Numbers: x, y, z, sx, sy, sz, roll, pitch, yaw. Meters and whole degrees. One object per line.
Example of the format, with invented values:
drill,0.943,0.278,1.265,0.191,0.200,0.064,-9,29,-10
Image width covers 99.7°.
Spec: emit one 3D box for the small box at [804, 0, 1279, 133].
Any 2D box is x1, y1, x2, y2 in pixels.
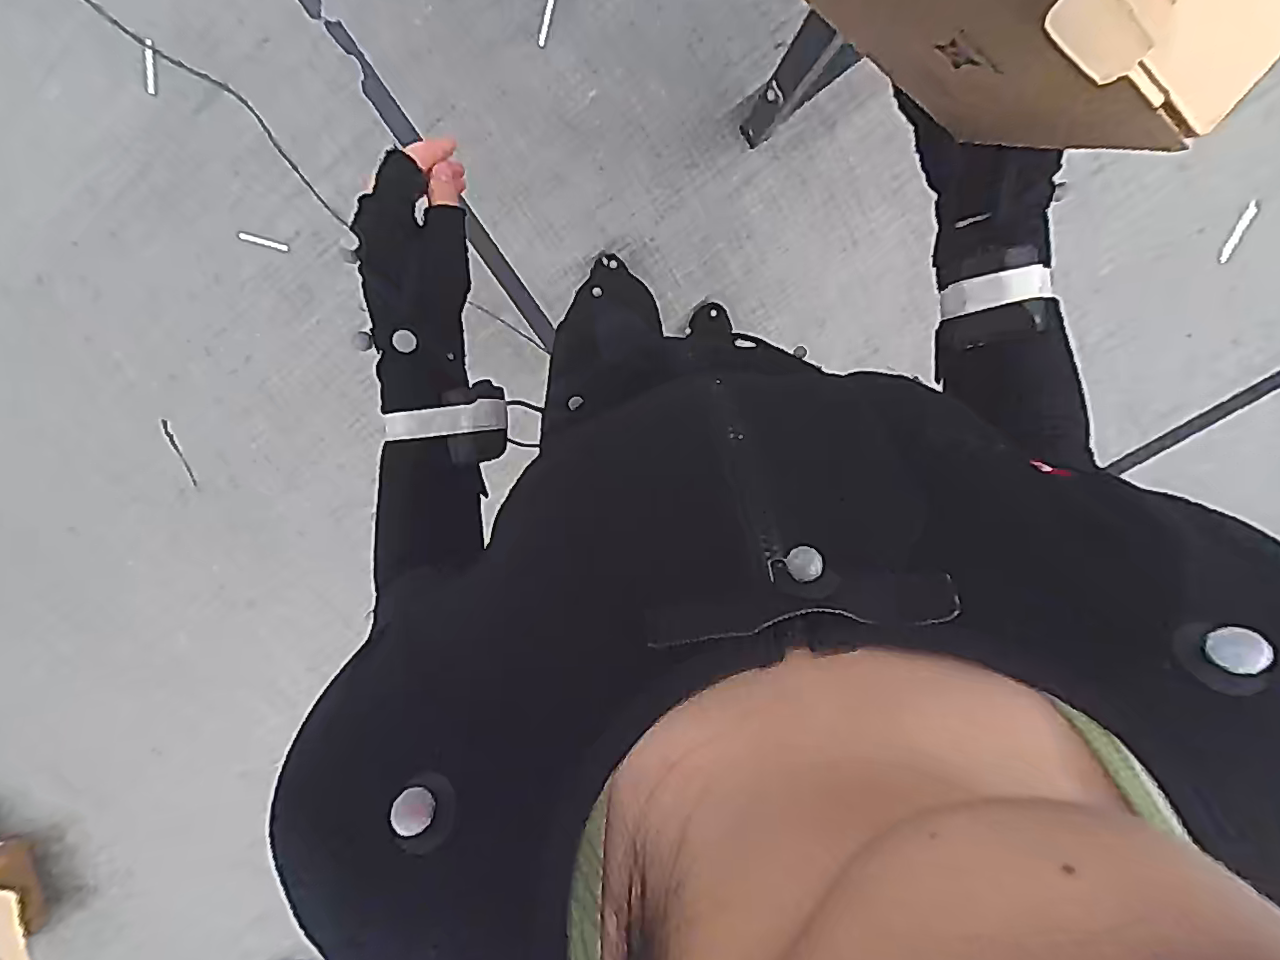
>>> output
small box,0.204,-0.296,0.252,0.168,0.179,0.176,23,116,-22
